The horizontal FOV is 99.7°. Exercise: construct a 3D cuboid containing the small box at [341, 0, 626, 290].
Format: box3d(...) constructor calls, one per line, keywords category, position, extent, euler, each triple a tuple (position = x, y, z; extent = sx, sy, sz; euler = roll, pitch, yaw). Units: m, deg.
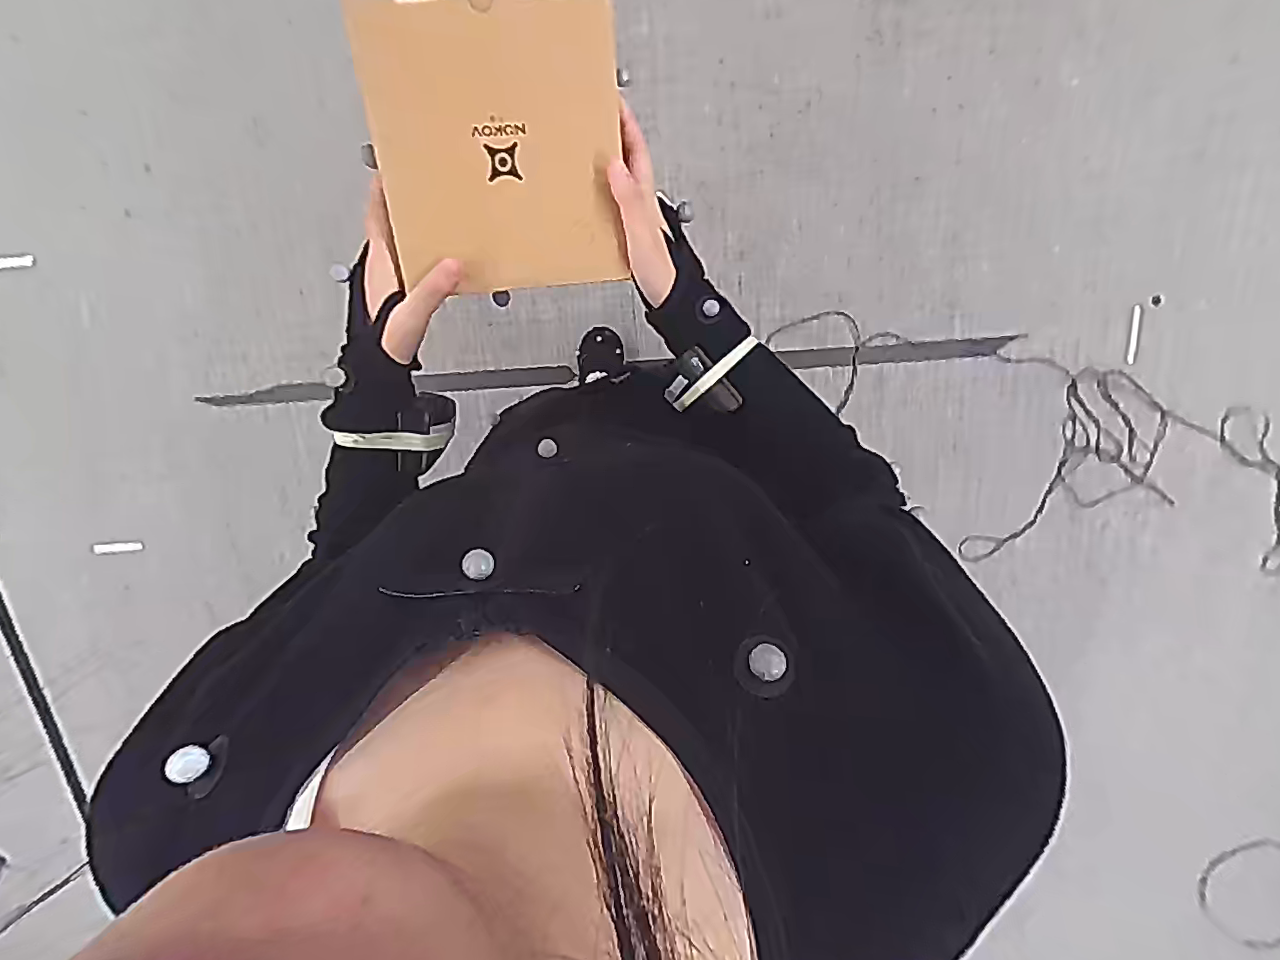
box3d(category="small box", position=(-0.105, -0.254, 0.434), extent=(0.168, 0.176, 0.179), euler=(-7, 112, -7))
